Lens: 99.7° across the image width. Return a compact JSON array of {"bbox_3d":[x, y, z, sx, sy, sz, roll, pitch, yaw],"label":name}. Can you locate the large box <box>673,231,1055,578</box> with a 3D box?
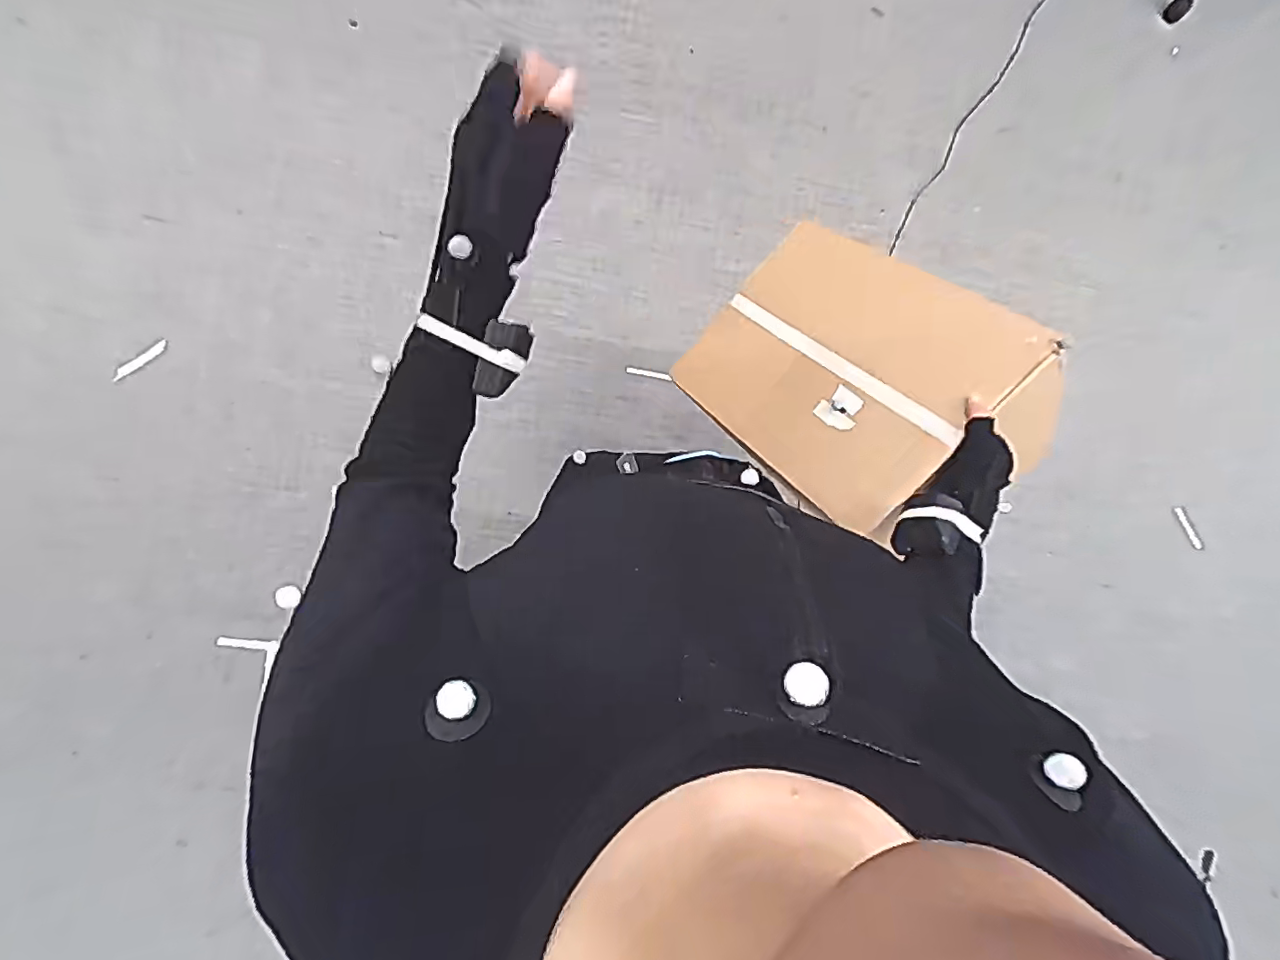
[{"bbox_3d":[0.333,-0.112,0.859,0.320,0.320,0.408,-47,53,9],"label":"large box"}]
